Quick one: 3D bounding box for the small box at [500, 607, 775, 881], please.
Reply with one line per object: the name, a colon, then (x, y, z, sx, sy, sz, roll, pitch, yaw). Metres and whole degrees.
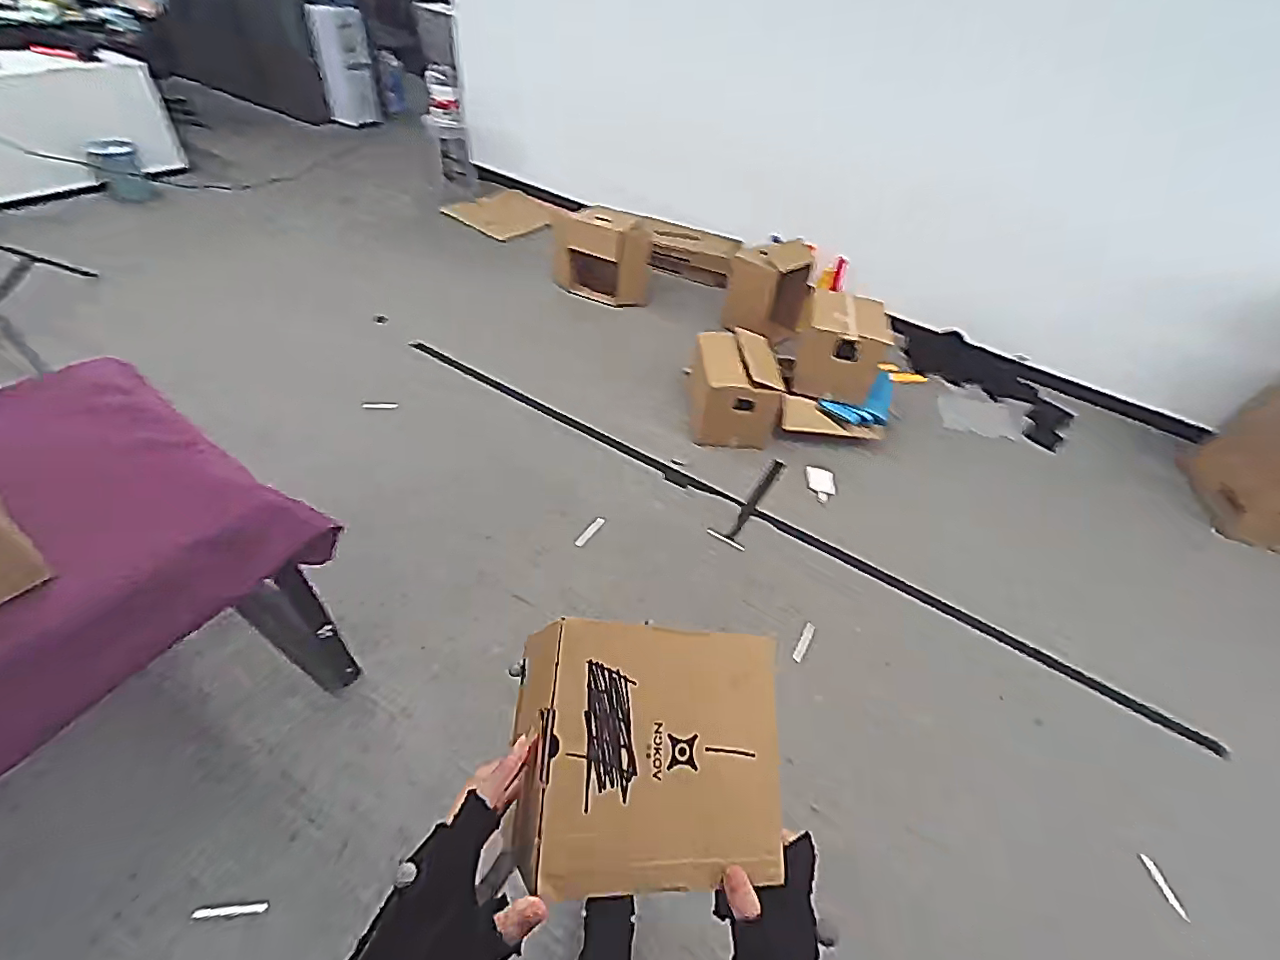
small box: (-0.012, 0.207, 0.446, 0.179, 0.176, 0.168, 10, 66, -18)
